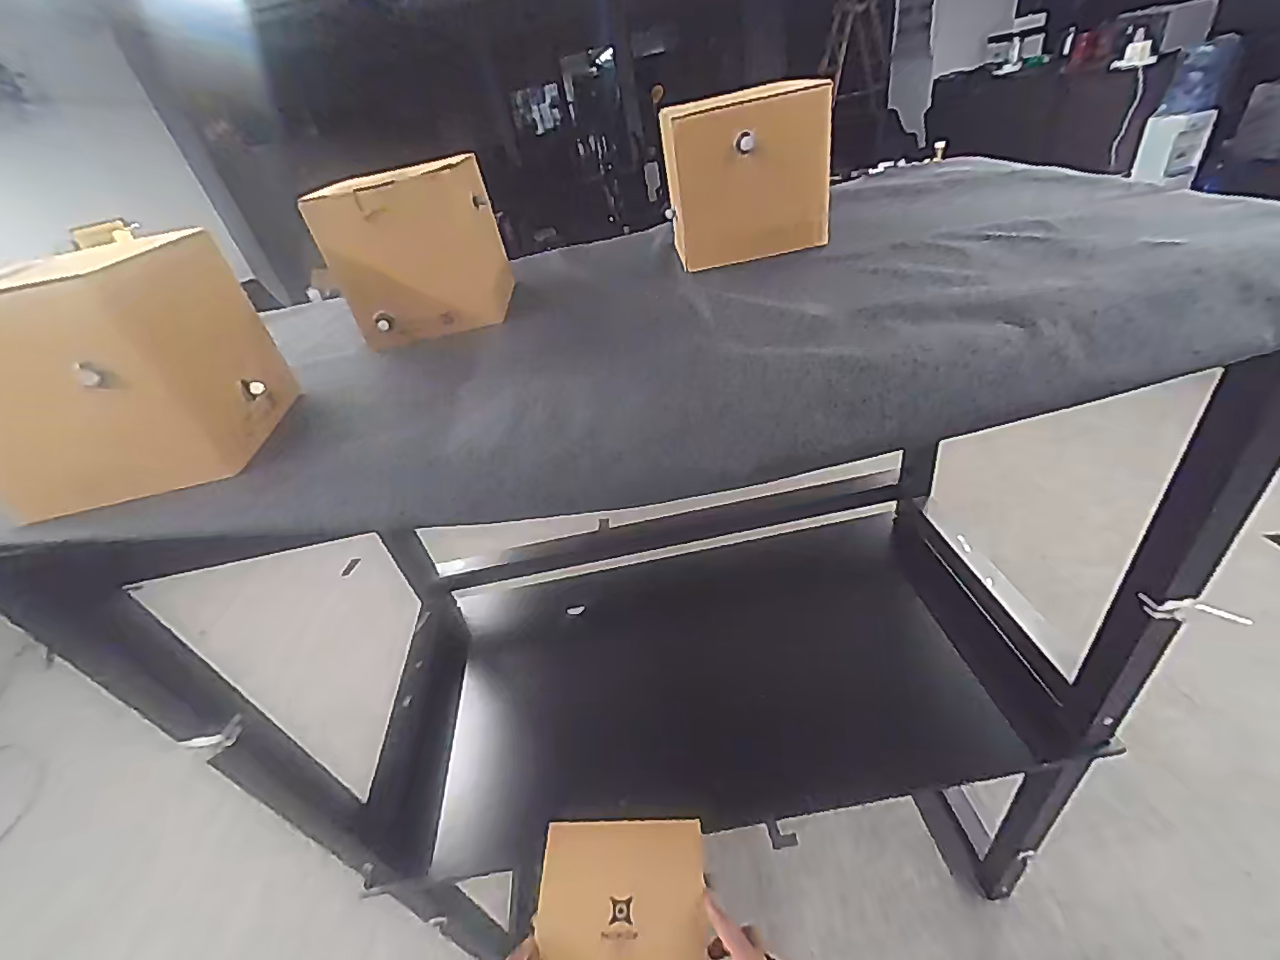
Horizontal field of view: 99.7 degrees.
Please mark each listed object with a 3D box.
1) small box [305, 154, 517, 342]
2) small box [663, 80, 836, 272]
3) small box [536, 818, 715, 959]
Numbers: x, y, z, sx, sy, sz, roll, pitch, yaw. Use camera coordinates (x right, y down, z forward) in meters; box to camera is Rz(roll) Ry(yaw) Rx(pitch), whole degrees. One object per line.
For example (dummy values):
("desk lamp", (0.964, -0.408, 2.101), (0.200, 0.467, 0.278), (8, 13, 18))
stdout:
("small box", (-0.261, -0.284, 0.670), (0.168, 0.176, 0.179), (-12, 35, 2))
("small box", (0.132, -0.381, 0.680), (0.179, 0.176, 0.168), (-11, 36, 5))
("small box", (-0.007, 0.482, 0.565), (0.168, 0.176, 0.179), (-4, 39, 5))
